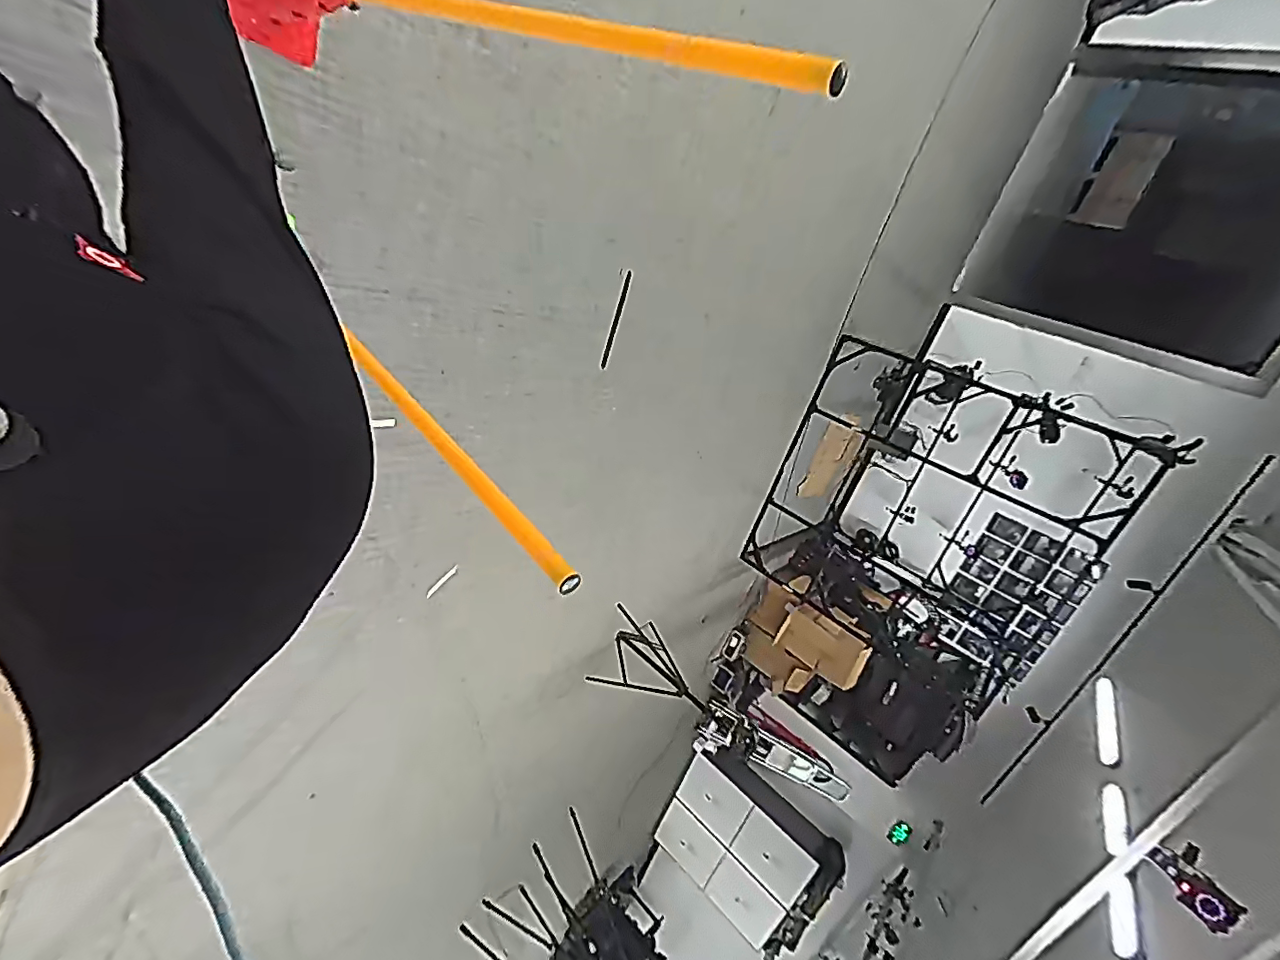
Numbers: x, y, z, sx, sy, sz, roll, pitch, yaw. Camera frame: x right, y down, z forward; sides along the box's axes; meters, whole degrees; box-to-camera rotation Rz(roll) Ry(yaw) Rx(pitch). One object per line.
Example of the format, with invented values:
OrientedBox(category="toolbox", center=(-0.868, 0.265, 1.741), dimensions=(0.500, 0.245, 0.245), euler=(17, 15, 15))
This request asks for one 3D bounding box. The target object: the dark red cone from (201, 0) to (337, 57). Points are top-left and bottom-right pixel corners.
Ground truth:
OrientedBox(category="dark red cone", center=(-0.568, -0.852, 0.908), dimensions=(0.201, 0.394, 0.202), euler=(-11, 128, -53))
